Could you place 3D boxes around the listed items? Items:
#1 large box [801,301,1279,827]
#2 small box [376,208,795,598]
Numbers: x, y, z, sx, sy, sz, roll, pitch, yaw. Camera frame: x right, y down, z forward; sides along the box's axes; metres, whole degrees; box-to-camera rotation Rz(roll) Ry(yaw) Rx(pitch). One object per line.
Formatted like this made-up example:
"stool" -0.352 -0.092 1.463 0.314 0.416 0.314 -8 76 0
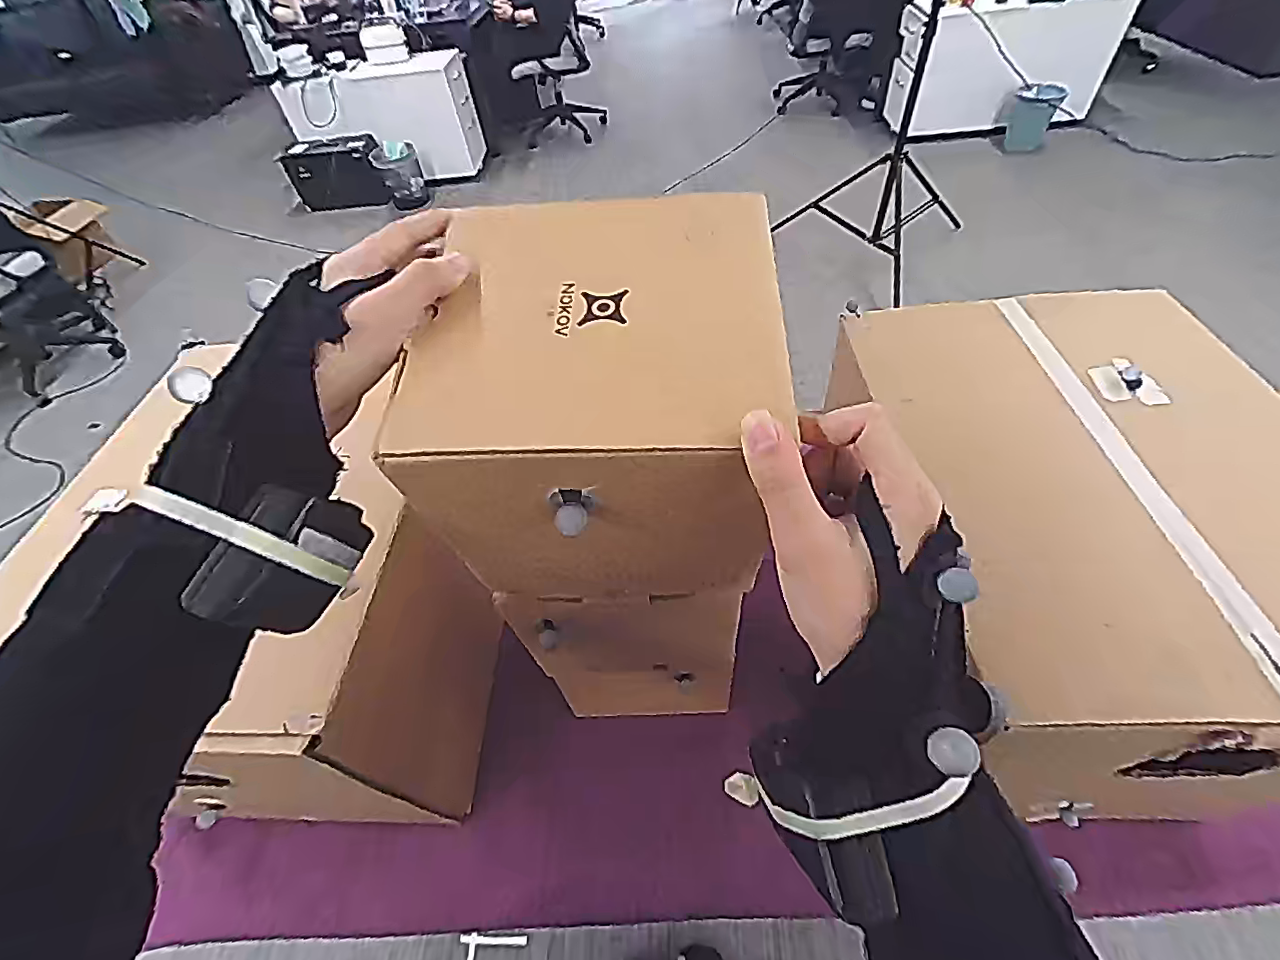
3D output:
"large box" 0.364 0.079 0.531 0.320 0.320 0.408 -3 49 4
"small box" -0.016 -0.035 0.328 0.179 0.176 0.168 -1 57 5
